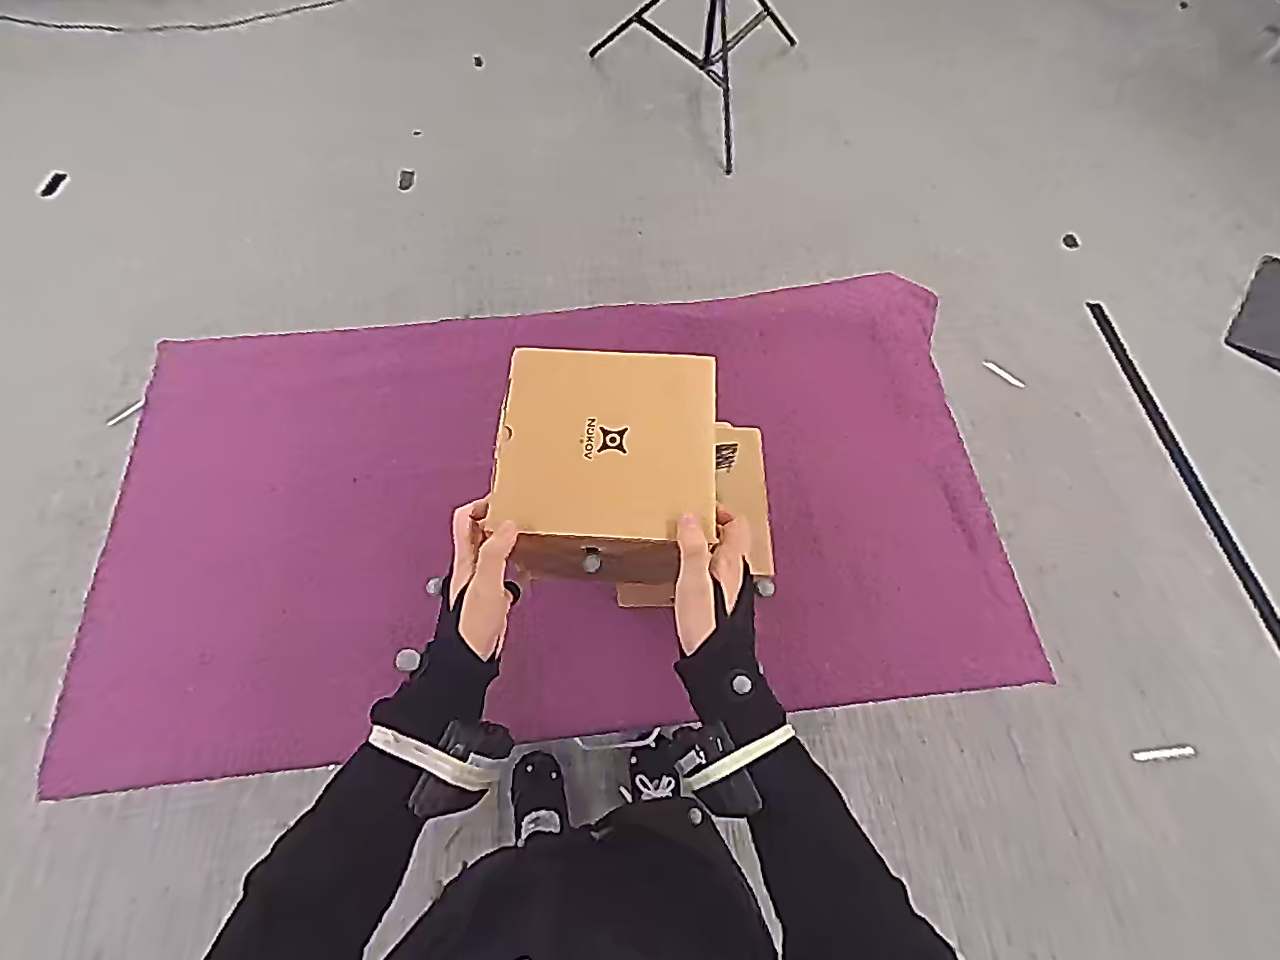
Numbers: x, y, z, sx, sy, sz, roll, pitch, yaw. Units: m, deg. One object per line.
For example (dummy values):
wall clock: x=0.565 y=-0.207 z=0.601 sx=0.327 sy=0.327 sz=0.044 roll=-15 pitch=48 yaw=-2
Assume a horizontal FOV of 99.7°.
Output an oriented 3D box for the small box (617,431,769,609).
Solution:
small box: x=0.054 y=0.054 z=0.668 sx=0.168 sy=0.176 sz=0.179 roll=0 pitch=66 yaw=0

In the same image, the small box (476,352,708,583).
small box: x=-0.034 y=-0.001 z=0.510 sx=0.179 sy=0.176 sz=0.168 roll=2 pitch=69 yaw=1
